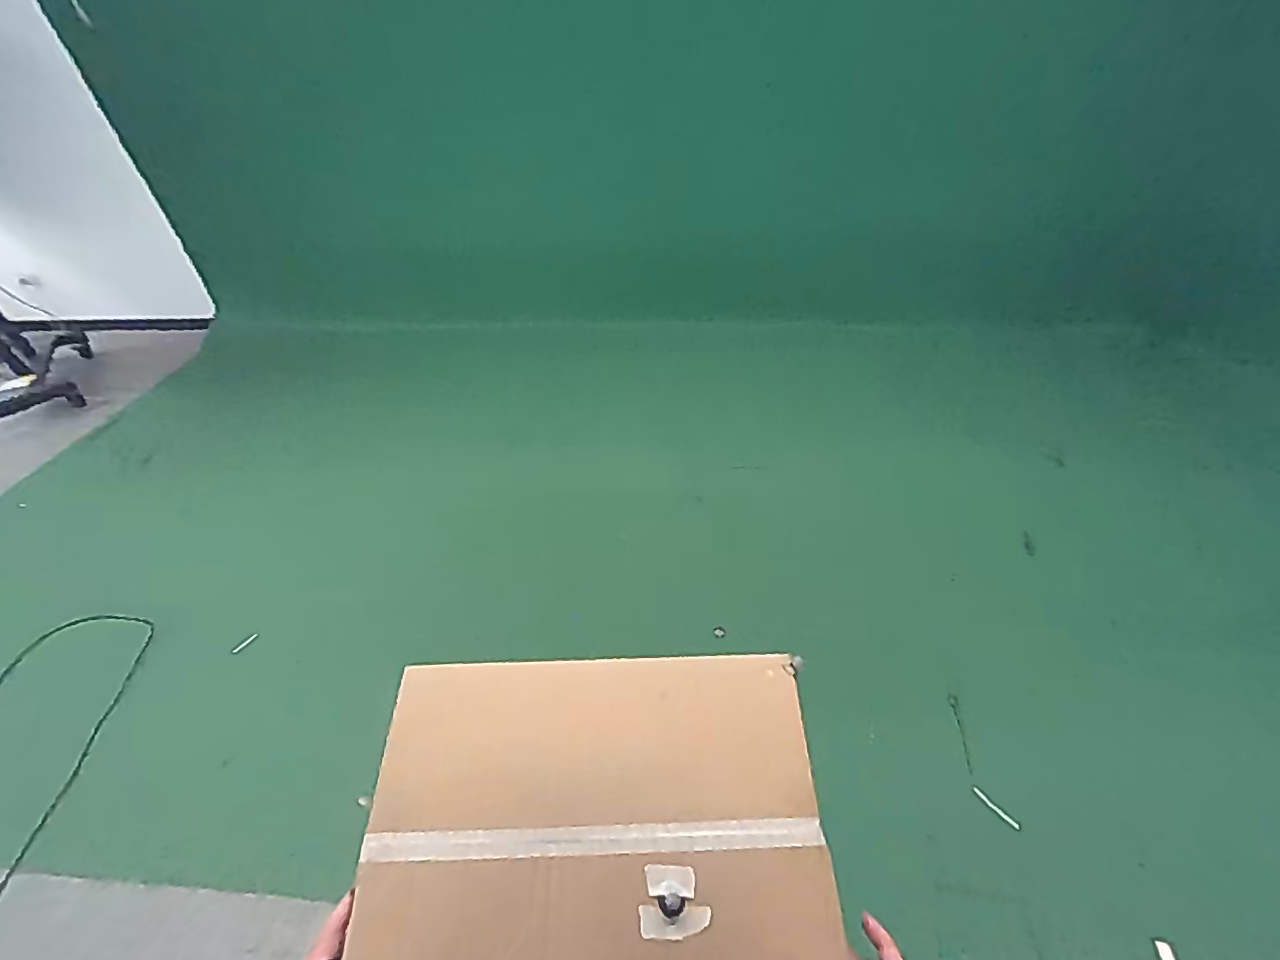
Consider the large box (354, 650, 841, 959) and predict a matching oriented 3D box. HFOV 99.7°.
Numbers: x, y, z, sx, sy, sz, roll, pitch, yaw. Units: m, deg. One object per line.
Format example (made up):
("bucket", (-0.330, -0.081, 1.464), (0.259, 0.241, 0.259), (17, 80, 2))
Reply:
("large box", (-0.039, 0.401, 0.613), (0.408, 0.320, 0.320), (-2, 56, 0))
